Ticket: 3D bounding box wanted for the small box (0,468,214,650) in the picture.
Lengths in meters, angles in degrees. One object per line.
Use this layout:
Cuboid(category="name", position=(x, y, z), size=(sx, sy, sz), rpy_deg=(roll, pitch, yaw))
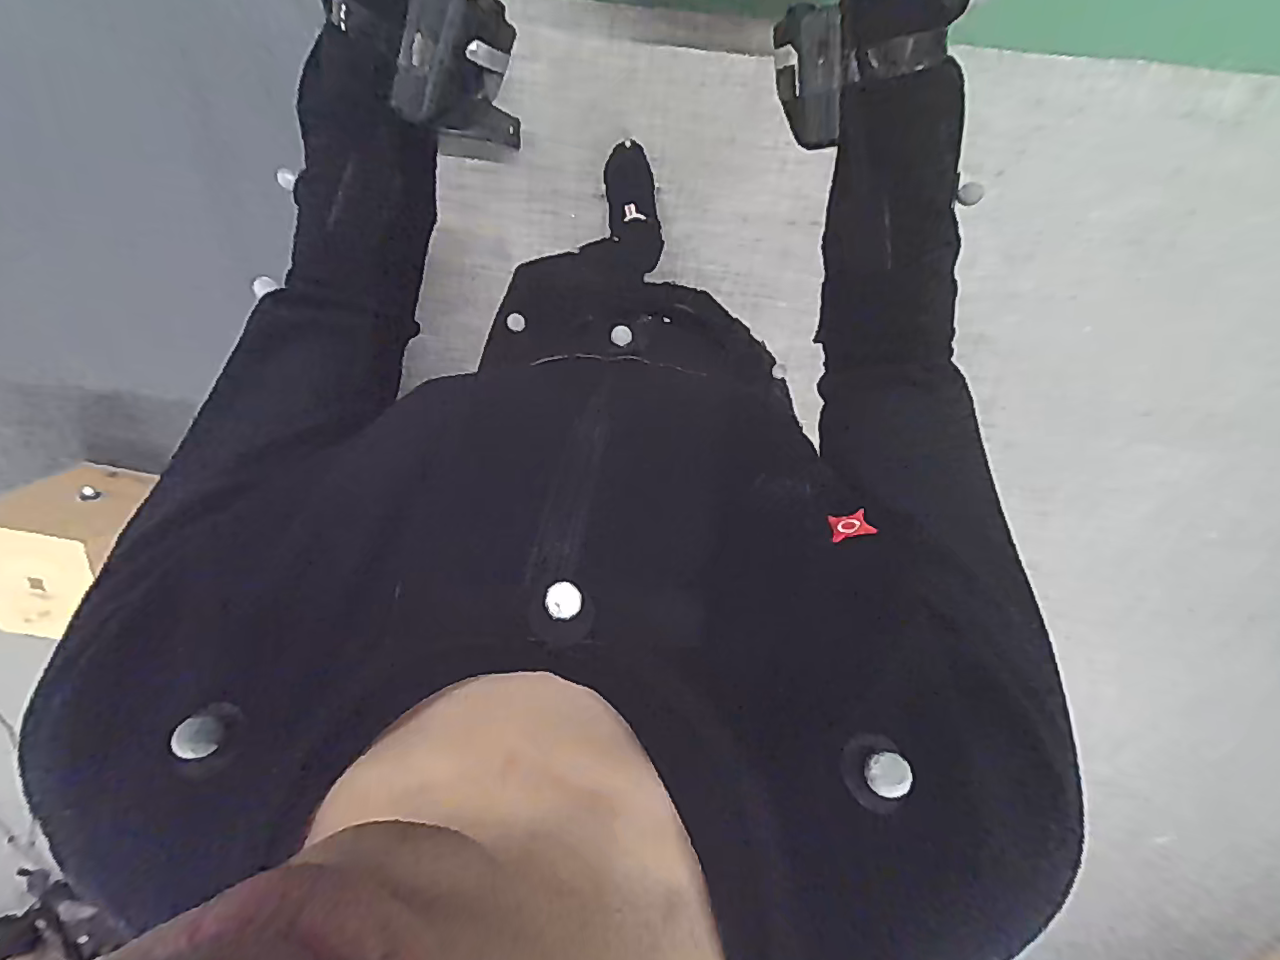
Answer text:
Cuboid(category="small box", position=(-0.743, 0.100, 0.750), size=(0.168, 0.176, 0.179), rpy_deg=(11, 116, 0))
